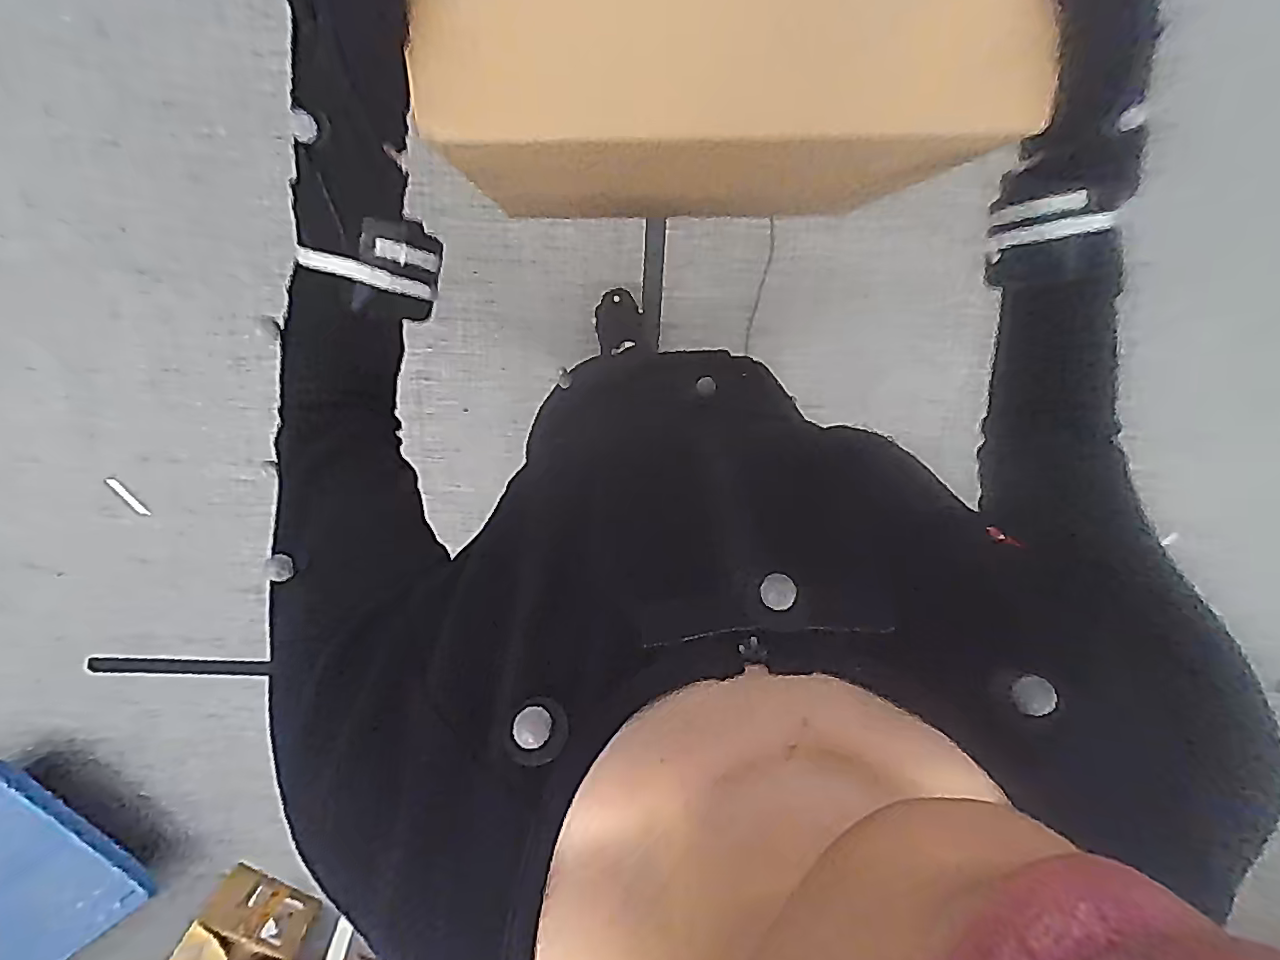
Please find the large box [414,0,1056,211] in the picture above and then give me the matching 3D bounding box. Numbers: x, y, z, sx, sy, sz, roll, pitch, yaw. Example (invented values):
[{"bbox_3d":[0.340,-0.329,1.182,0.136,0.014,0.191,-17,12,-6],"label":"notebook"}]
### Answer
[{"bbox_3d":[0.048,-0.423,0.442,0.408,0.320,0.320,-3,108,-3],"label":"large box"}]
